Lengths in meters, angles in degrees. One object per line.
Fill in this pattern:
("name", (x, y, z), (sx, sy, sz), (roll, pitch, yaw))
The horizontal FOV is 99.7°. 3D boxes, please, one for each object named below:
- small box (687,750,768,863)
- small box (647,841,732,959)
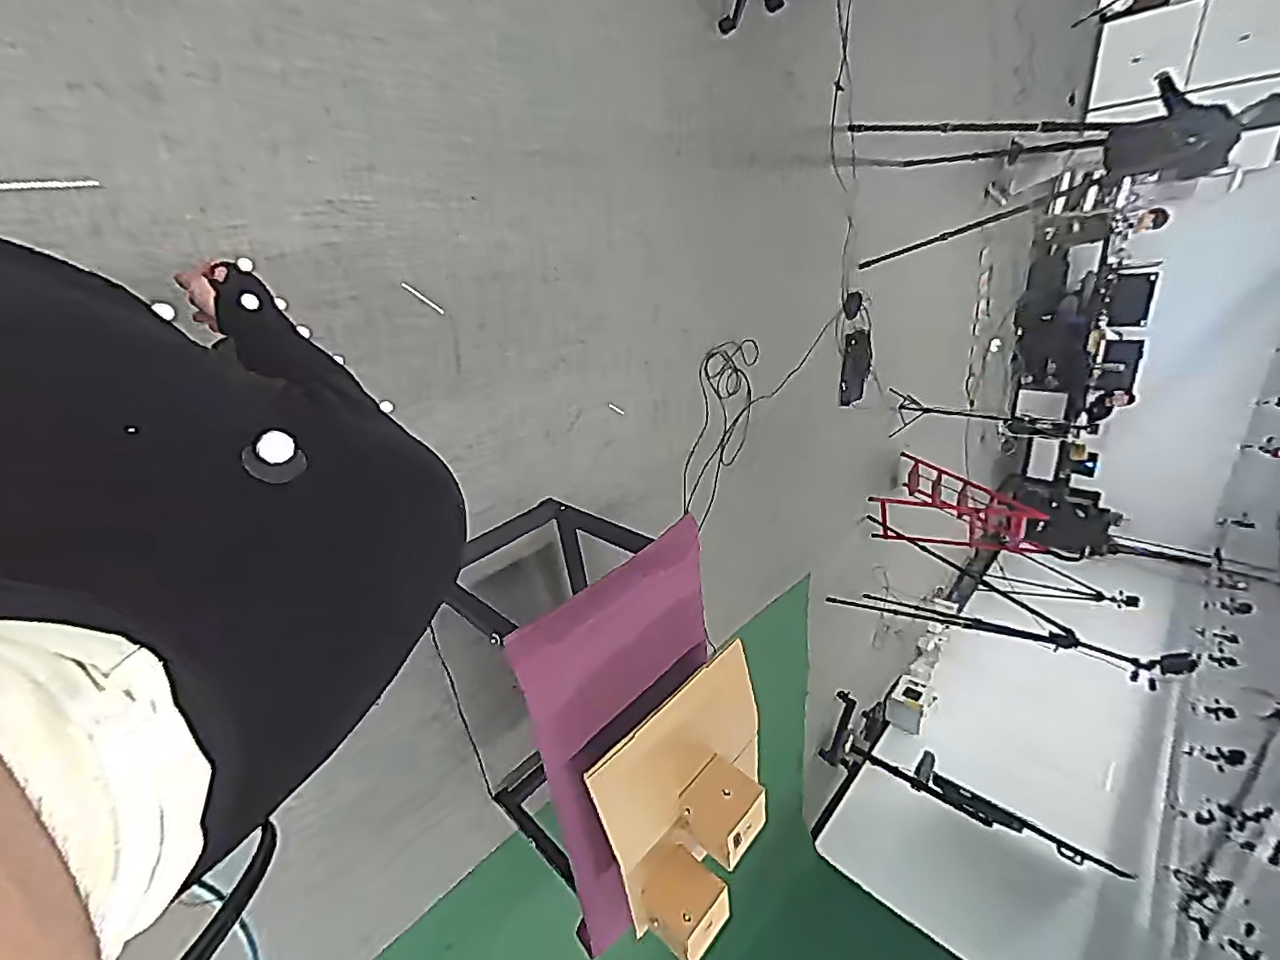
("small box", (0.246, 0.926, 1.547), (0.179, 0.176, 0.168), (-31, 126, -37))
("small box", (0.141, 1.186, 1.538), (0.179, 0.176, 0.168), (-30, 125, -35))
